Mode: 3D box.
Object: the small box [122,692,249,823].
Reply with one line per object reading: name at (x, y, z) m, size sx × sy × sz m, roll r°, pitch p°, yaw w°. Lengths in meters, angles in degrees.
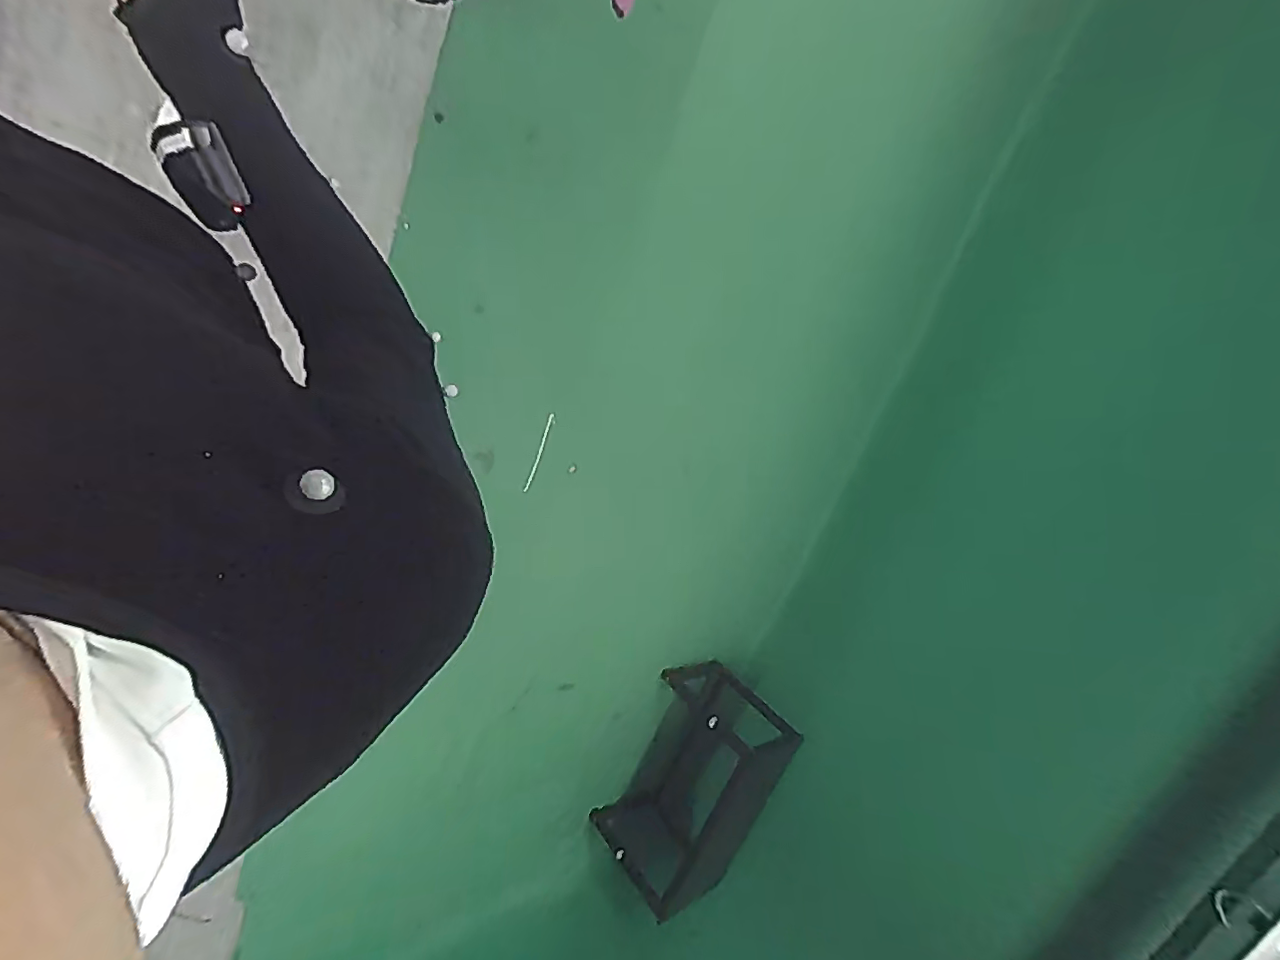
small box at (-1.061, 0.643, 1.267) m, size 0.179 × 0.176 × 0.168 m, roll -28°, pitch 132°, yaw -29°
